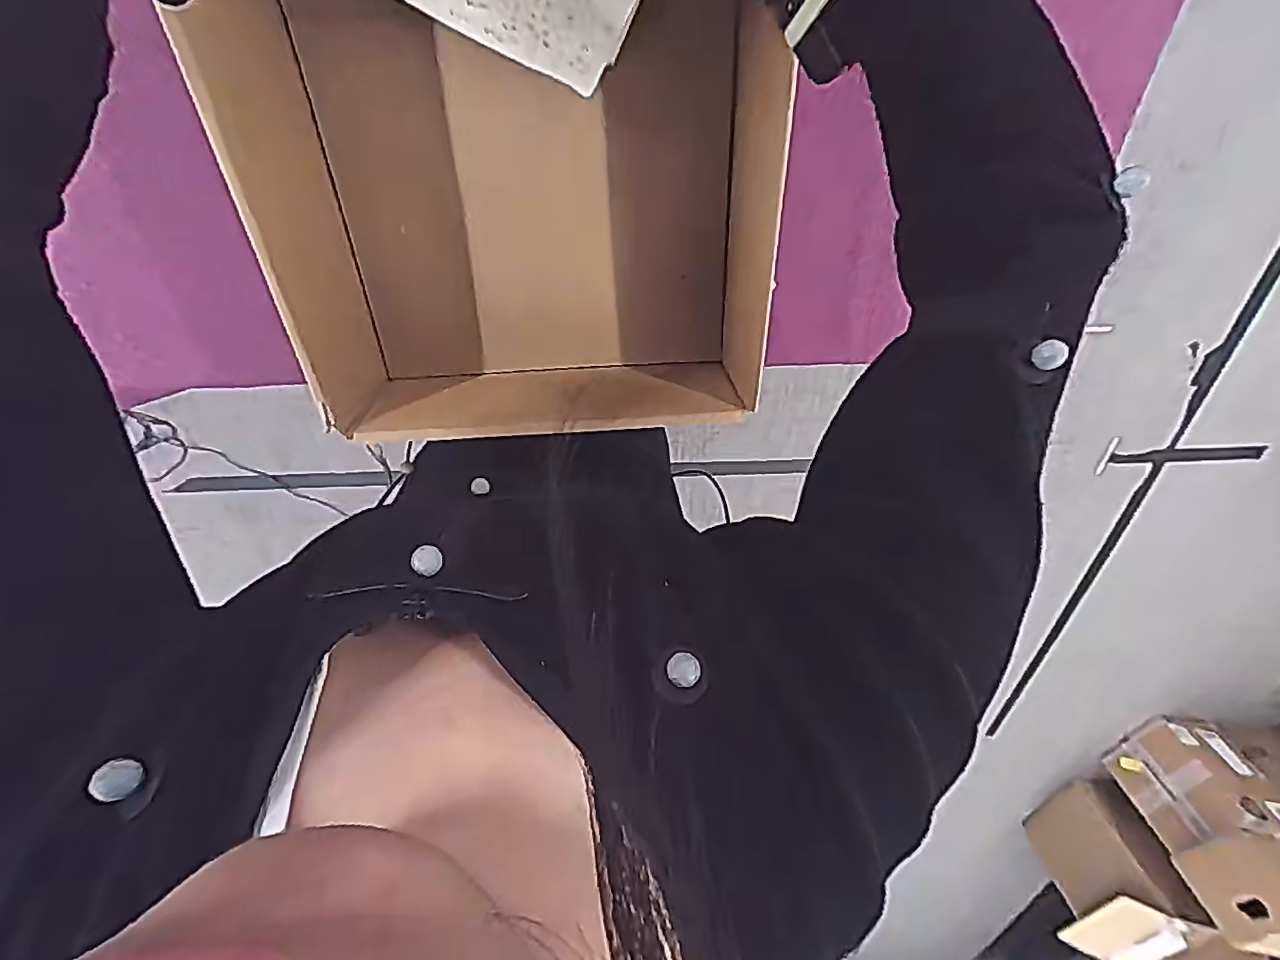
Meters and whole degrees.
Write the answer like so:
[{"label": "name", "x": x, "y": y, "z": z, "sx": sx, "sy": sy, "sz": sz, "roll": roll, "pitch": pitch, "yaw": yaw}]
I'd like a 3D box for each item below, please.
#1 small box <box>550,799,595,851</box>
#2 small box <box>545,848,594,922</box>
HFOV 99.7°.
[{"label": "small box", "x": -0.258, "y": 1.348, "z": 2.070, "sx": 0.168, "sy": 0.176, "sz": 0.179, "roll": 2, "pitch": 124, "yaw": -6}, {"label": "small box", "x": -0.249, "y": 1.447, "z": 1.940, "sx": 0.168, "sy": 0.176, "sz": 0.179, "roll": 0, "pitch": 123, "yaw": -4}]
